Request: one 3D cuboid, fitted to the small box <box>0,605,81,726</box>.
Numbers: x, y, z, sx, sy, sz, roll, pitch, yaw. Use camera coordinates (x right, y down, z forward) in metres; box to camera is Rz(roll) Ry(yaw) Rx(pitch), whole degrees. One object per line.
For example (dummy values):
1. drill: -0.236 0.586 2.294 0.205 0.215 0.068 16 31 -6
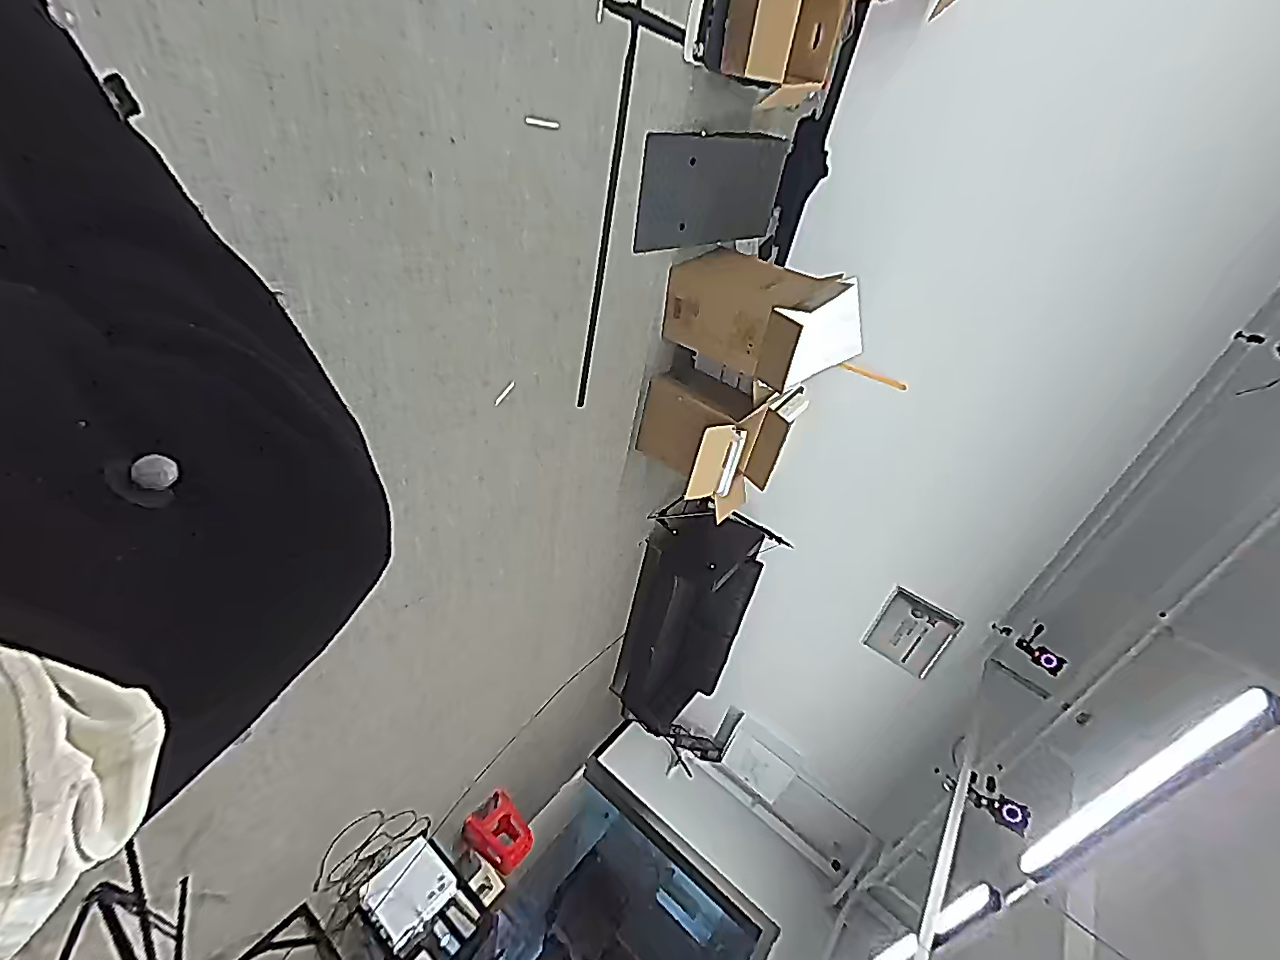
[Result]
1. small box: -1.380 0.405 1.173 0.179 0.176 0.168 -25 139 -49
